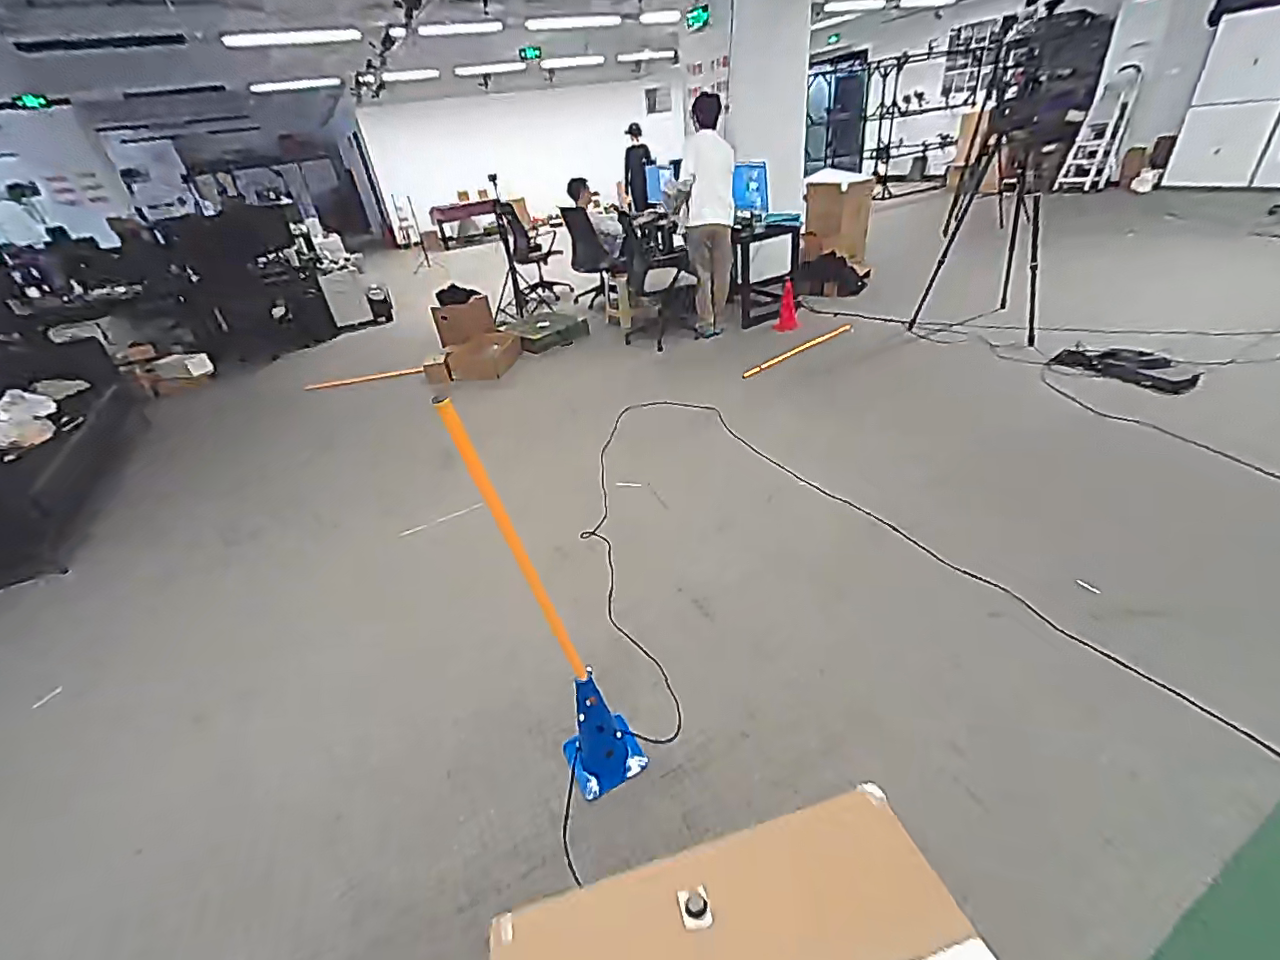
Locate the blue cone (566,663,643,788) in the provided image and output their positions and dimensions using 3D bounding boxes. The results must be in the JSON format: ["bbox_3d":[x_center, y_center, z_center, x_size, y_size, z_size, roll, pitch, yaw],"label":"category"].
[{"bbox_3d":[-0.126,0.638,1.475,0.193,0.380,0.192,-25,36,-21],"label":"blue cone"}]
